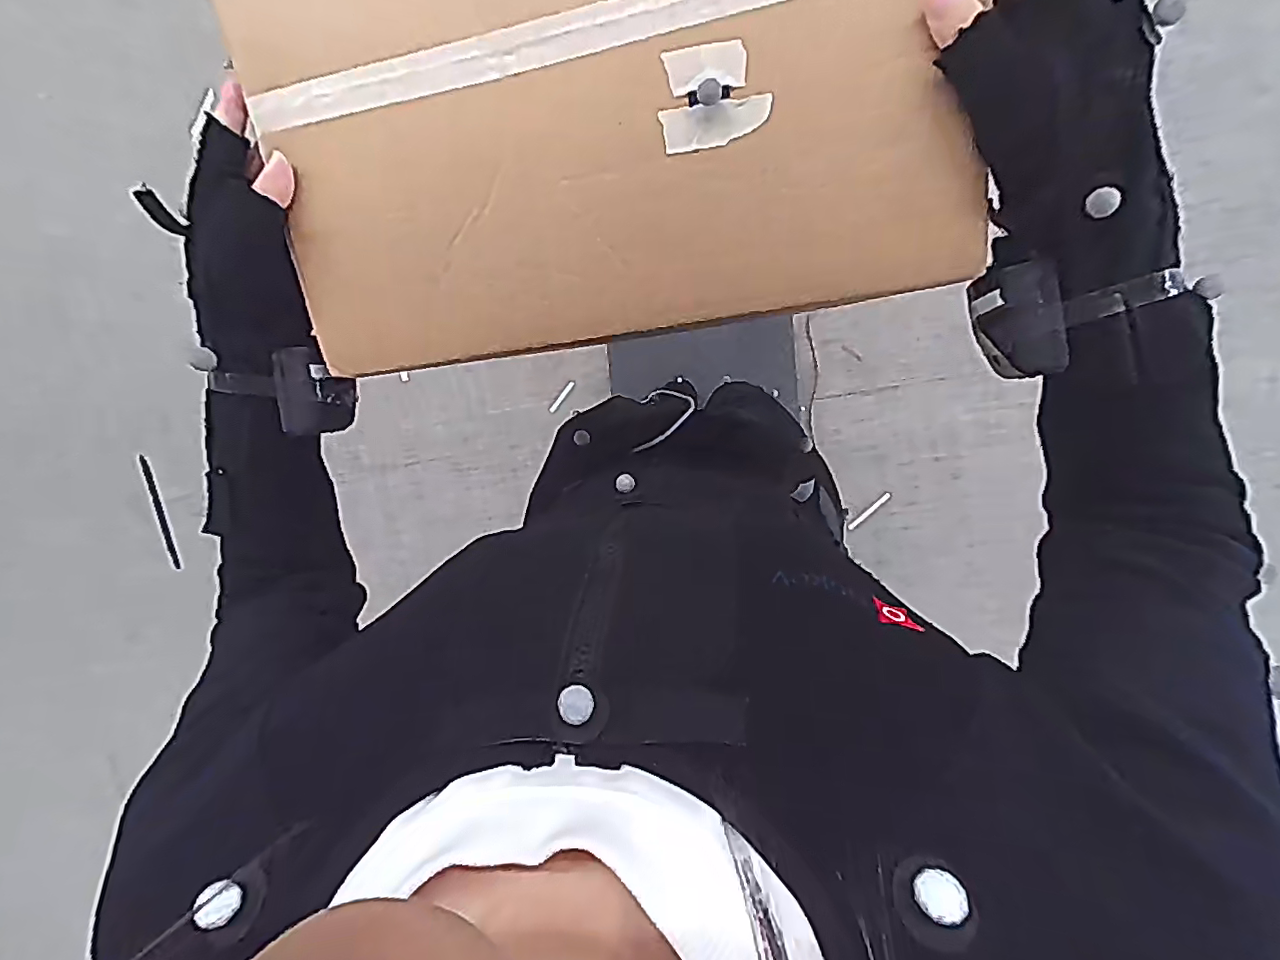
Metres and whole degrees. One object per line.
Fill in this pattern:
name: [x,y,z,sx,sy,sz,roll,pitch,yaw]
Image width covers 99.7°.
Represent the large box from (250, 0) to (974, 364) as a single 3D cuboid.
large box: [-0.011,-0.289,0.445,0.408,0.320,0.320,-7,105,9]
